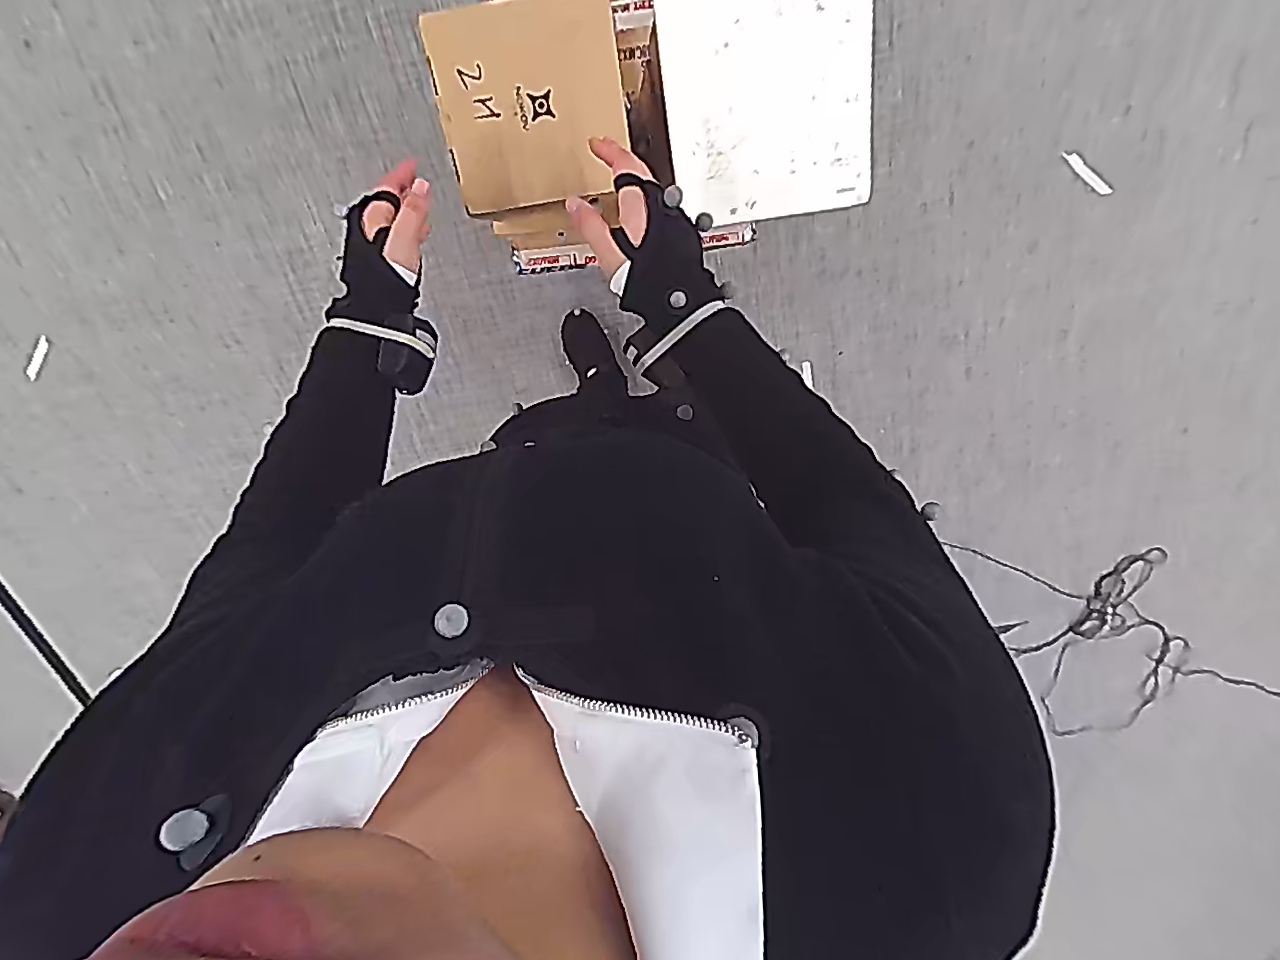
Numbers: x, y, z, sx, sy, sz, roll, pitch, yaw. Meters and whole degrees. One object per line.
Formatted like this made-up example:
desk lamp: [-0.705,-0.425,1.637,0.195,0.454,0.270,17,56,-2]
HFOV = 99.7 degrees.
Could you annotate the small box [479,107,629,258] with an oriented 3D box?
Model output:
small box: [-0.109,-0.410,0.764,0.179,0.176,0.168,-4,114,1]

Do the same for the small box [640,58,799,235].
small box: [0.105,-0.451,0.757,0.179,0.176,0.168,-13,113,2]
